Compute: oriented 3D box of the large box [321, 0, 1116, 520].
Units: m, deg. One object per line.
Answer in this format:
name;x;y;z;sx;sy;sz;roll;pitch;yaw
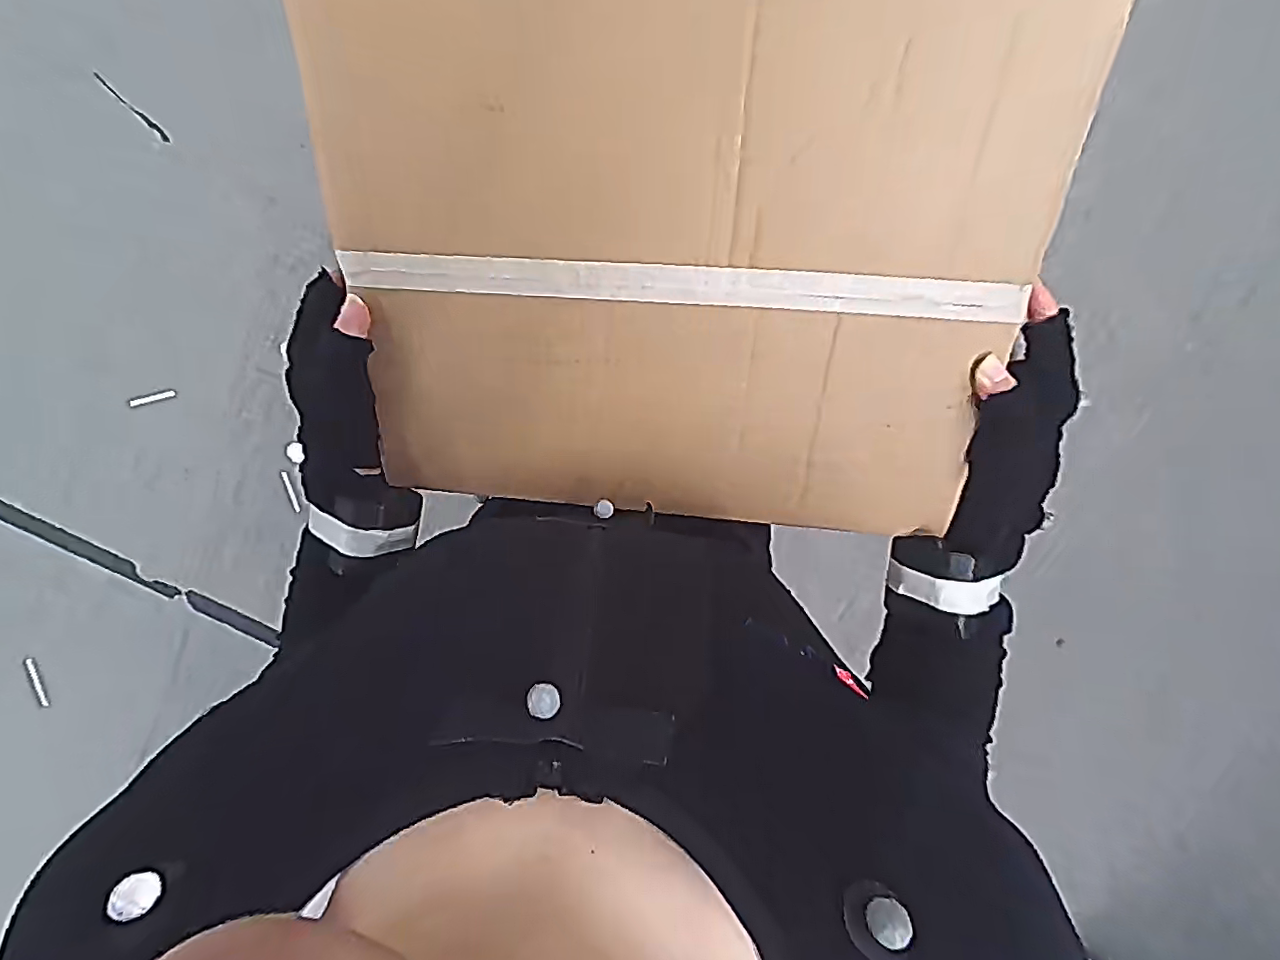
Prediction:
large box;0.038;-0.188;0.465;0.408;0.320;0.320;5;119;5
